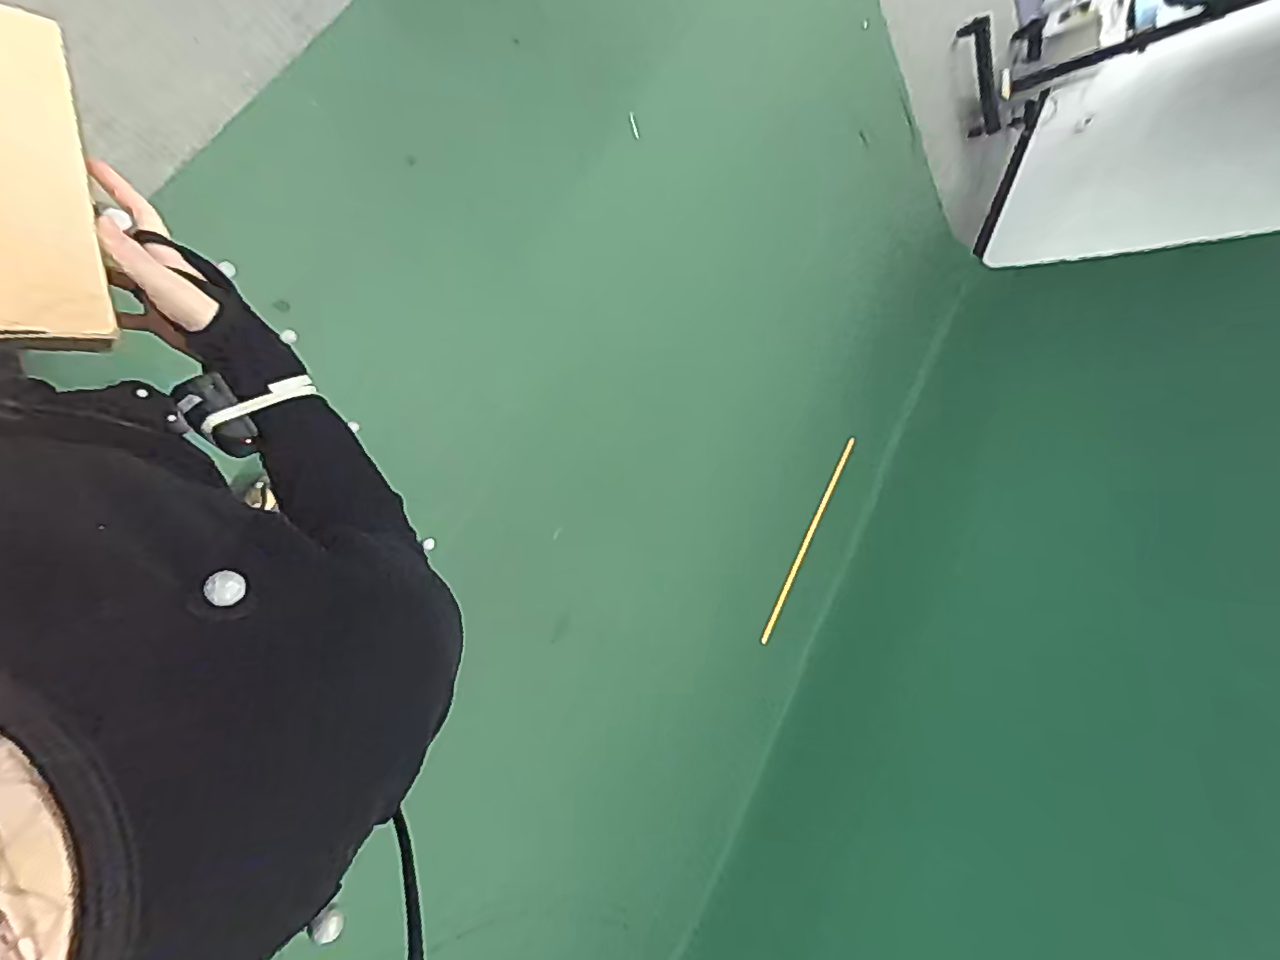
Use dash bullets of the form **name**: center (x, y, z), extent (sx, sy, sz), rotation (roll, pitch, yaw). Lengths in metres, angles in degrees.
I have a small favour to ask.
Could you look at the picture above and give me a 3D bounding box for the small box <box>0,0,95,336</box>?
- **small box**: center (-0.444, -0.179, 0.307), extent (0.168, 0.176, 0.179), rotation (-12, 107, -44)
